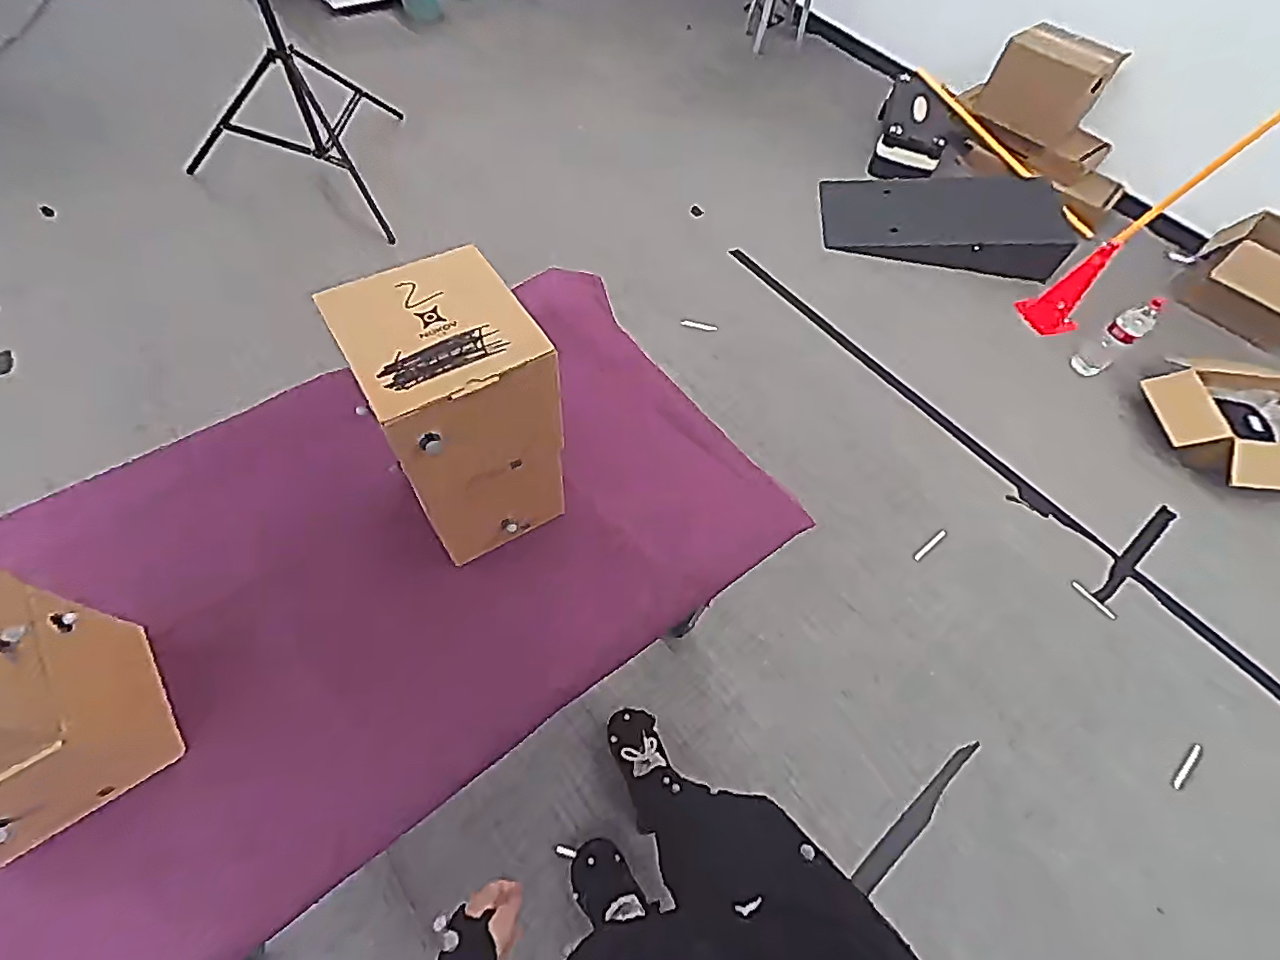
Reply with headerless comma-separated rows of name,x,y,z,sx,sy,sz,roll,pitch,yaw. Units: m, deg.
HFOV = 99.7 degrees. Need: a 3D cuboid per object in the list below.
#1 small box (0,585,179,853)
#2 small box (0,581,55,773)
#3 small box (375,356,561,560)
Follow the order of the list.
small box,-0.600,0.237,0.520,0.168,0.176,0.179,-32,67,-22
small box,-0.589,0.150,0.381,0.168,0.176,0.179,-32,67,-22
small box,-0.216,-0.025,0.714,0.168,0.176,0.179,-27,66,-19
